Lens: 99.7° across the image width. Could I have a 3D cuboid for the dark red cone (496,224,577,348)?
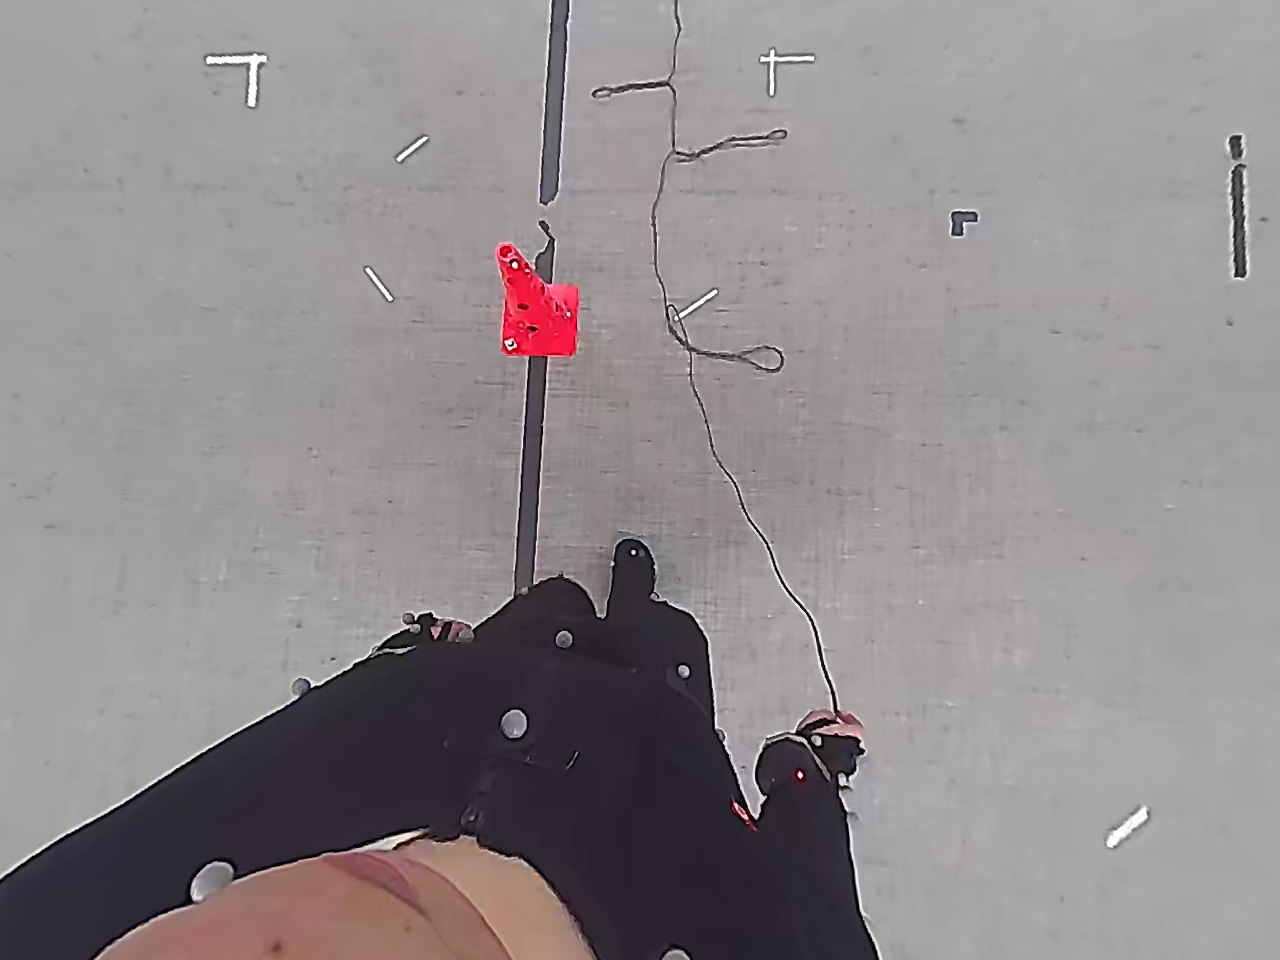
[{"bbox_3d":[-0.265,-0.457,1.244,0.201,0.394,0.202,1,85,0],"label":"dark red cone"}]
